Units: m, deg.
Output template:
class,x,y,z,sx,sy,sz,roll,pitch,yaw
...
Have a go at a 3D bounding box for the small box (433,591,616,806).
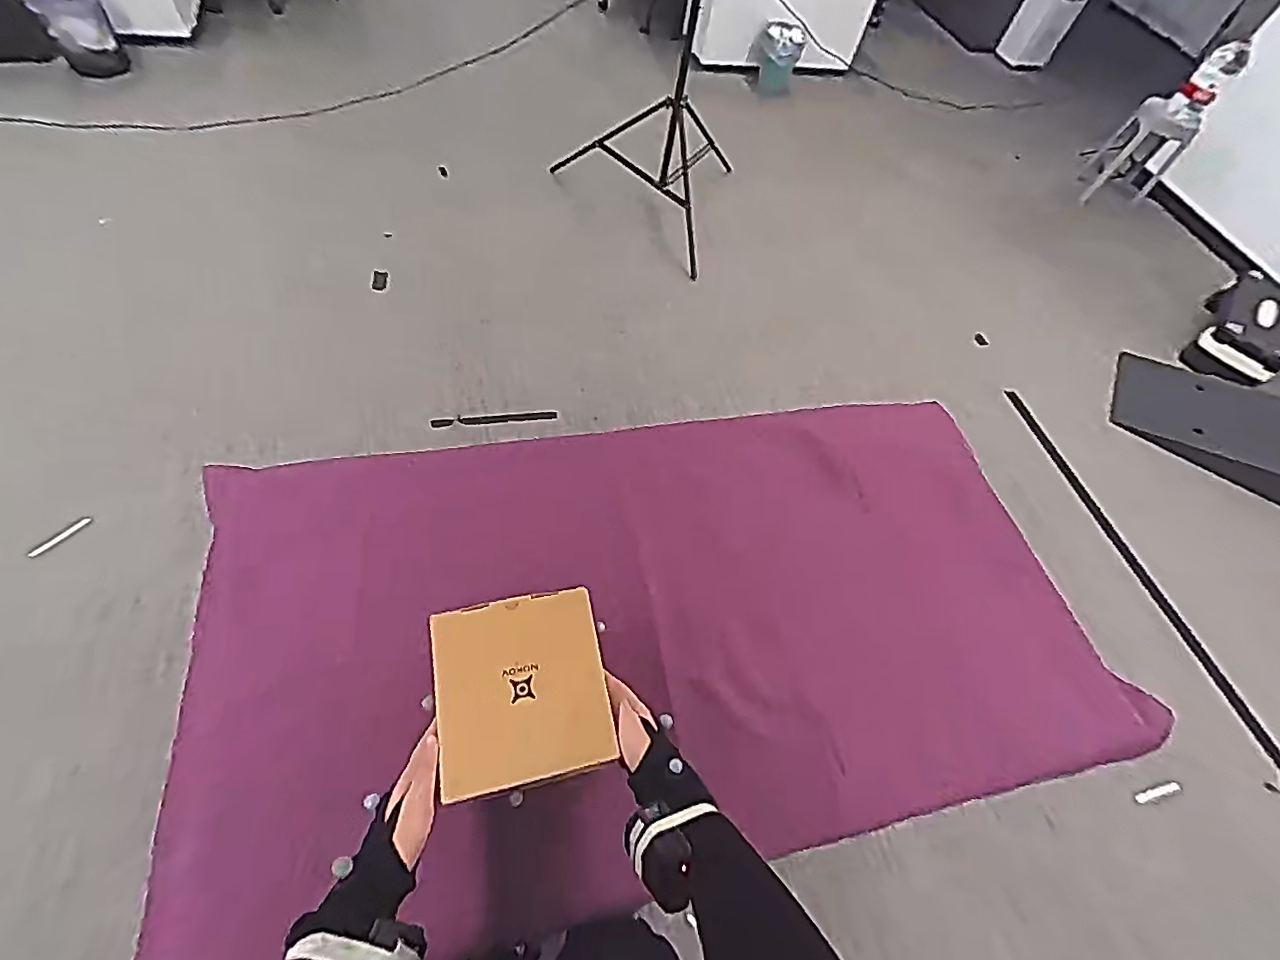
class,x,y,z,sx,sy,sz,roll,pitch,yaw
small box,-0.128,0.246,0.607,0.168,0.176,0.179,-8,60,-14
